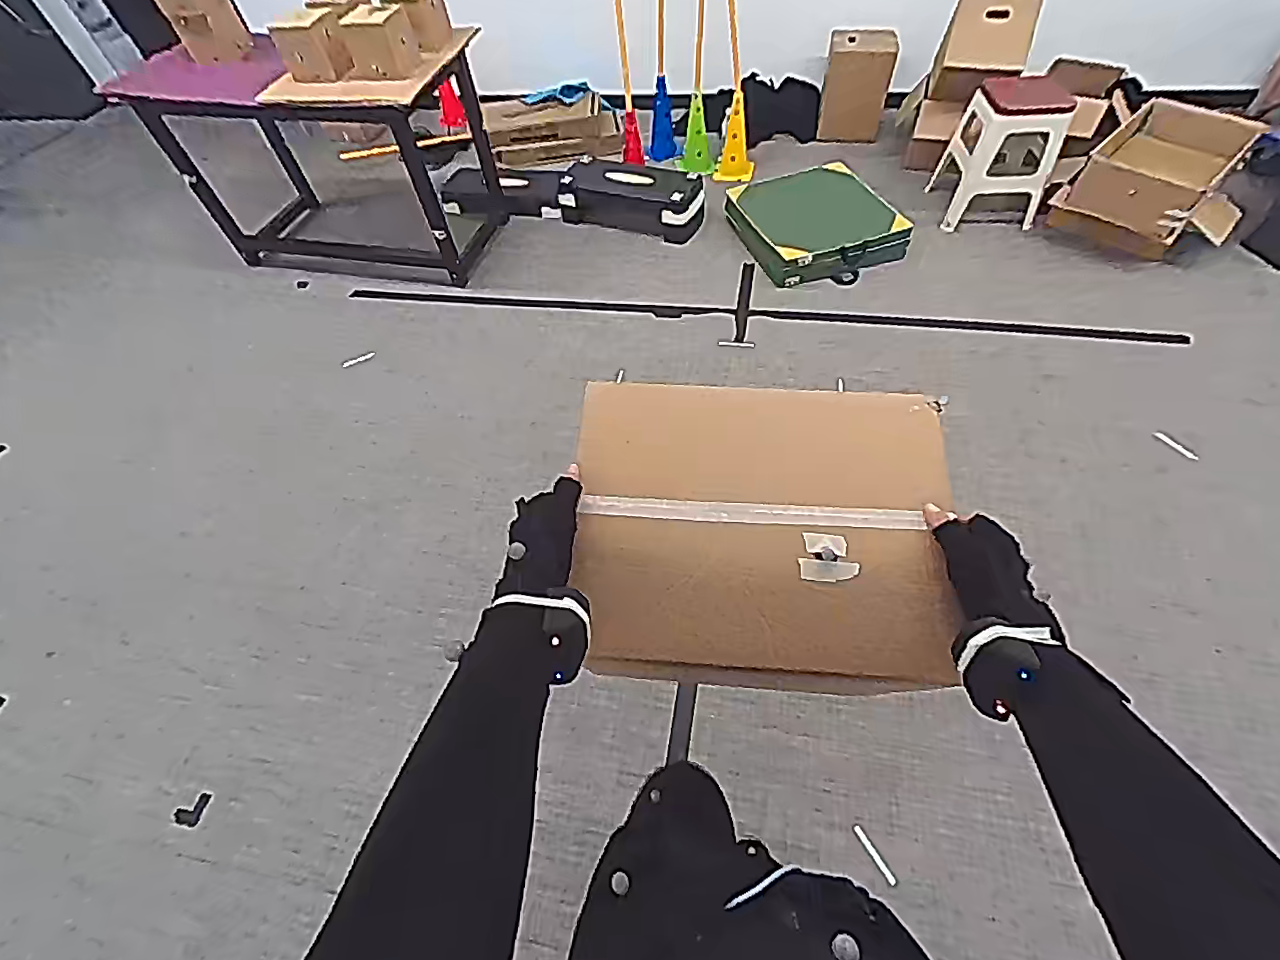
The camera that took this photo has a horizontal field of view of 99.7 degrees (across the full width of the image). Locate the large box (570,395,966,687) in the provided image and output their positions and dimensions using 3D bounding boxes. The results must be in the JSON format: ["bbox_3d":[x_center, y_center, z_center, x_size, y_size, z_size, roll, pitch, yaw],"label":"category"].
[{"bbox_3d":[0.135,0.101,0.733,0.408,0.320,0.320,3,68,3],"label":"large box"}]
